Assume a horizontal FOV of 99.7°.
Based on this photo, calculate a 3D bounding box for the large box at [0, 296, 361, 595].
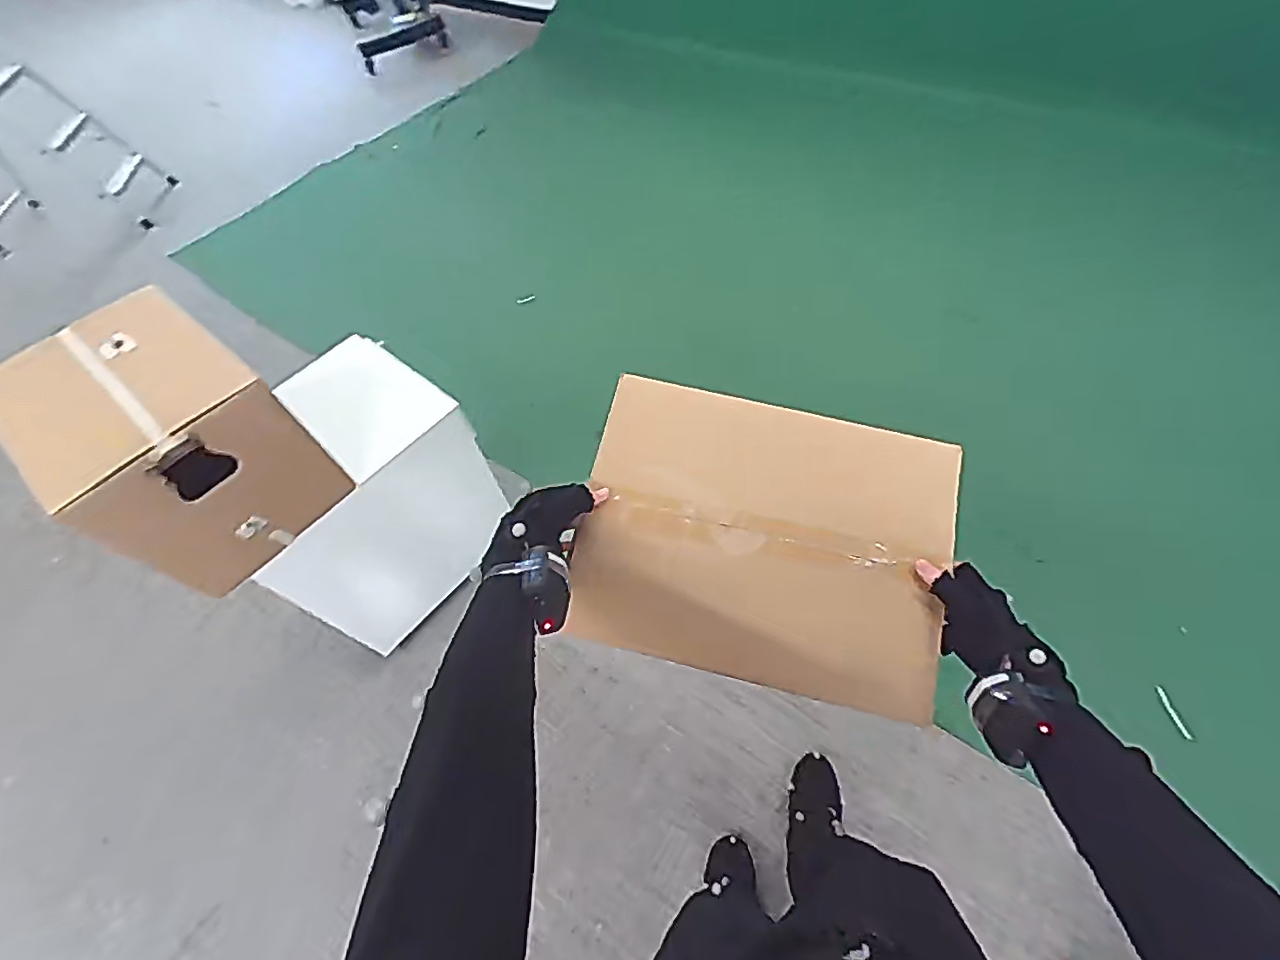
[{"bbox_3d":[-0.816,-0.063,0.989,0.408,0.320,0.320,33,65,24],"label":"large box"}]
